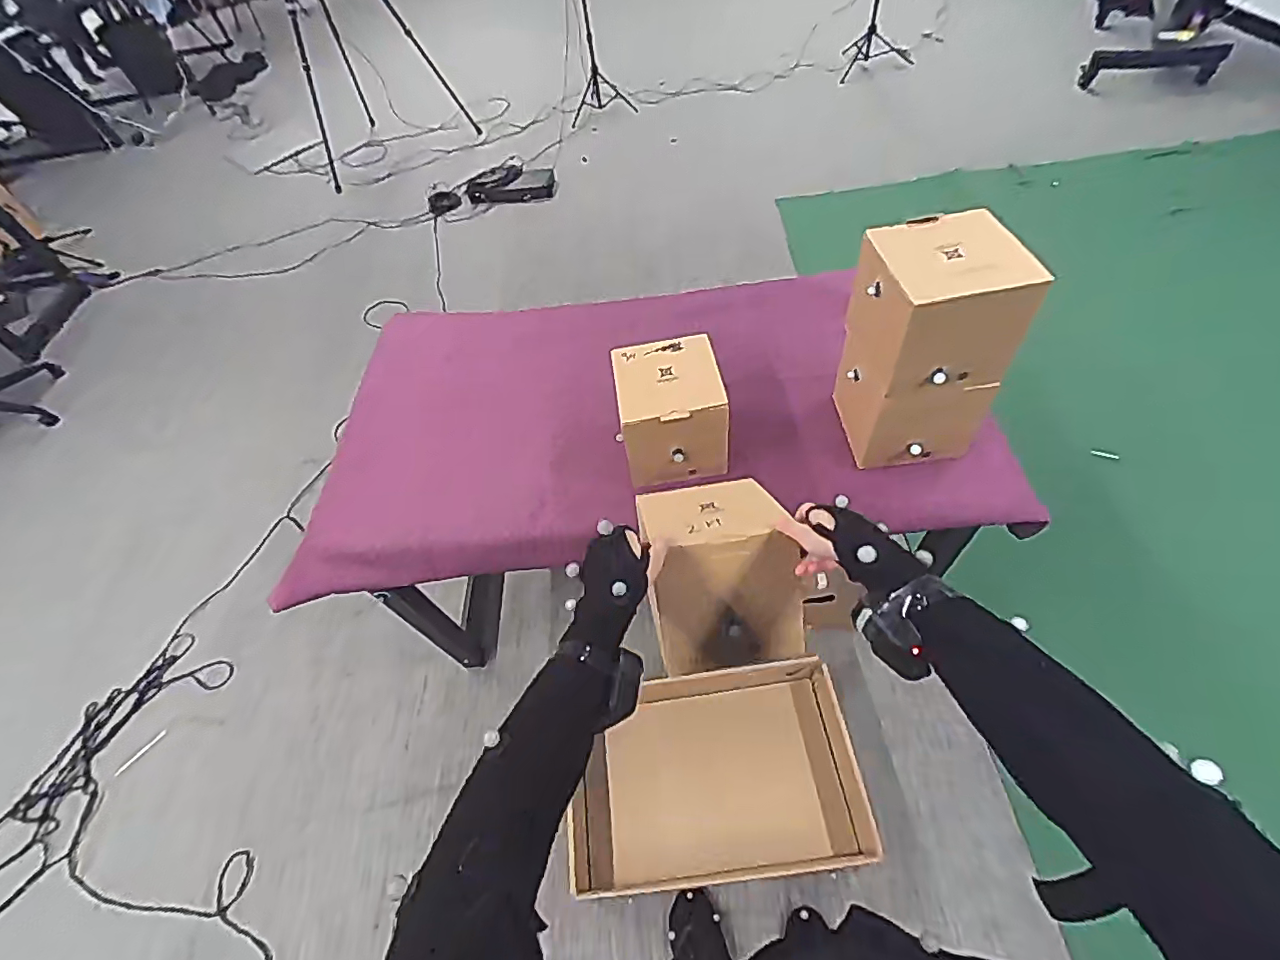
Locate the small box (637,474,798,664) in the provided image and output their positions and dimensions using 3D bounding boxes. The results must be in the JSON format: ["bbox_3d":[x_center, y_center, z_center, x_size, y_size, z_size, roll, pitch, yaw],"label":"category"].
[{"bbox_3d":[0.091,0.104,0.685,0.168,0.176,0.179,-9,19,-3],"label":"small box"}]

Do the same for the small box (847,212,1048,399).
[{"bbox_3d":[0.404,-0.240,0.754,0.168,0.176,0.179,-9,52,3],"label":"small box"}]

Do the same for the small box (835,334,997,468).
[{"bbox_3d":[0.430,-0.143,0.882,0.168,0.176,0.179,-7,53,5],"label":"small box"}]

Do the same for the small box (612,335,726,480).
[{"bbox_3d":[0.051,-0.114,0.918,0.168,0.176,0.179,-9,53,1],"label":"small box"}]
